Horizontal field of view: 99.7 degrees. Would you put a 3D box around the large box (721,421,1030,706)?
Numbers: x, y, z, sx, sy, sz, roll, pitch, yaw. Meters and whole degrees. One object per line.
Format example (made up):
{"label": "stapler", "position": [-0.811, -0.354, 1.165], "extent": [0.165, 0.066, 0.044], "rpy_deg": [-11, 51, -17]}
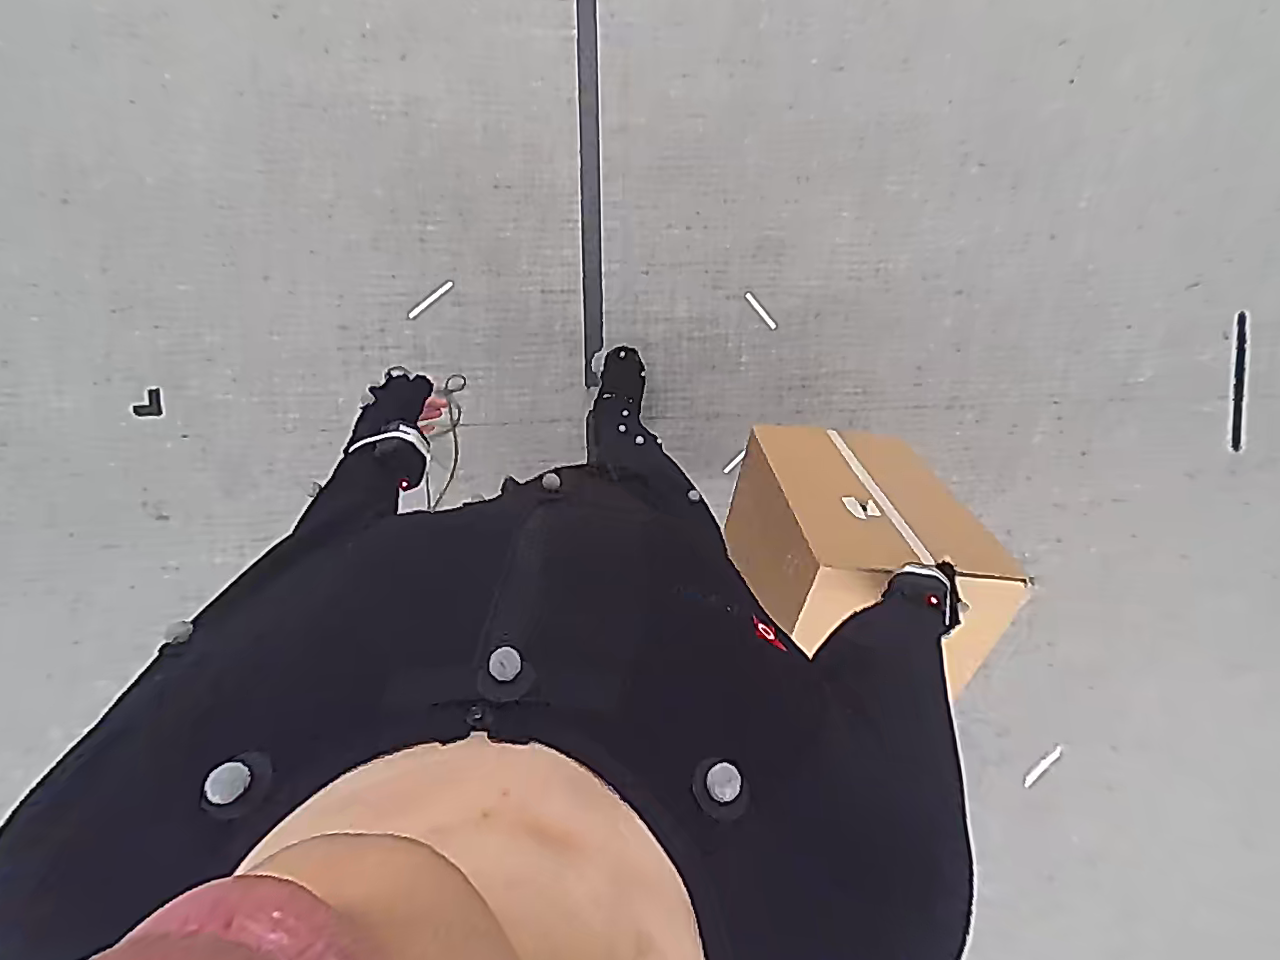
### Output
{"label": "large box", "position": [0.361, 0.134, 0.976], "extent": [0.320, 0.408, 0.320], "rpy_deg": [5, 123, -7]}
